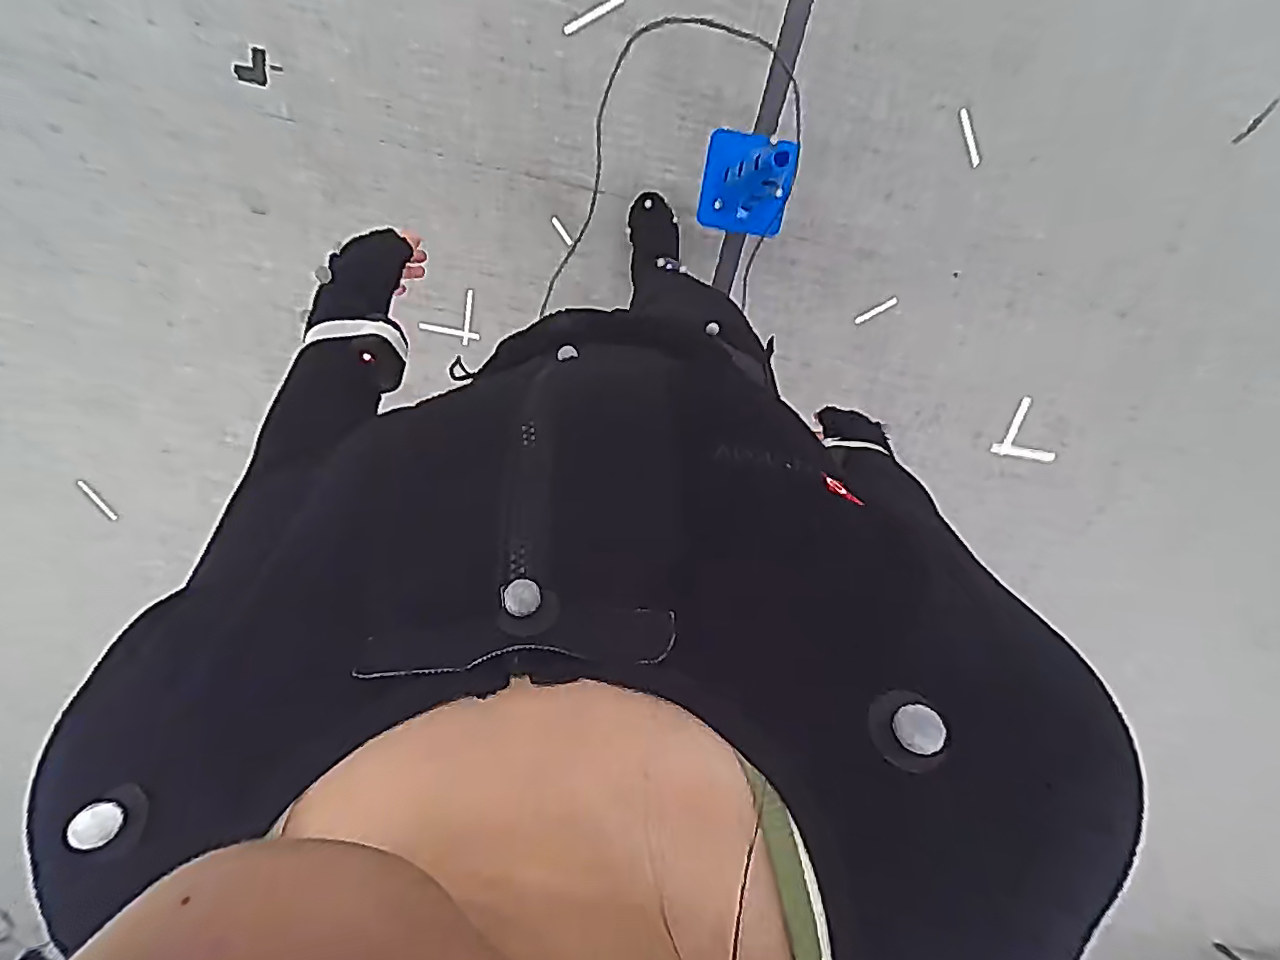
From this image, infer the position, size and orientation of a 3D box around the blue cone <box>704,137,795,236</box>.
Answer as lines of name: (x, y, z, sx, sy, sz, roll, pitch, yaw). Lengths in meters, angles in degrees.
blue cone: (0.244, -0.595, 1.070, 0.192, 0.380, 0.193, 7, 113, -2)
